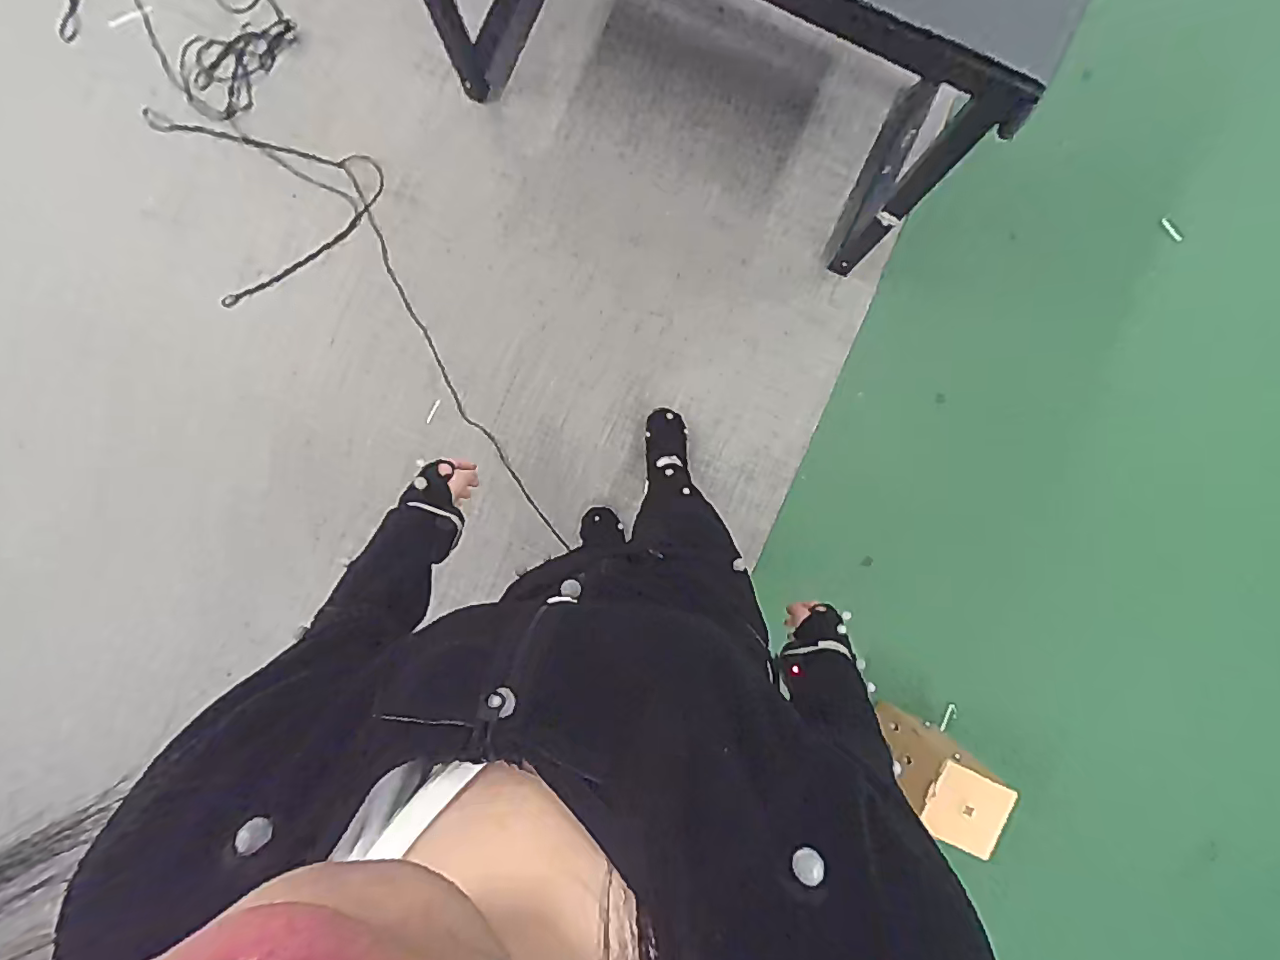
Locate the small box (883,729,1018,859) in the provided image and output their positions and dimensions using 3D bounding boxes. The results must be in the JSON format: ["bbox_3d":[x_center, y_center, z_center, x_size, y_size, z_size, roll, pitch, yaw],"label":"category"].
[{"bbox_3d":[0.704,0.710,1.245,0.179,0.176,0.168,25,90,0],"label":"small box"}]
